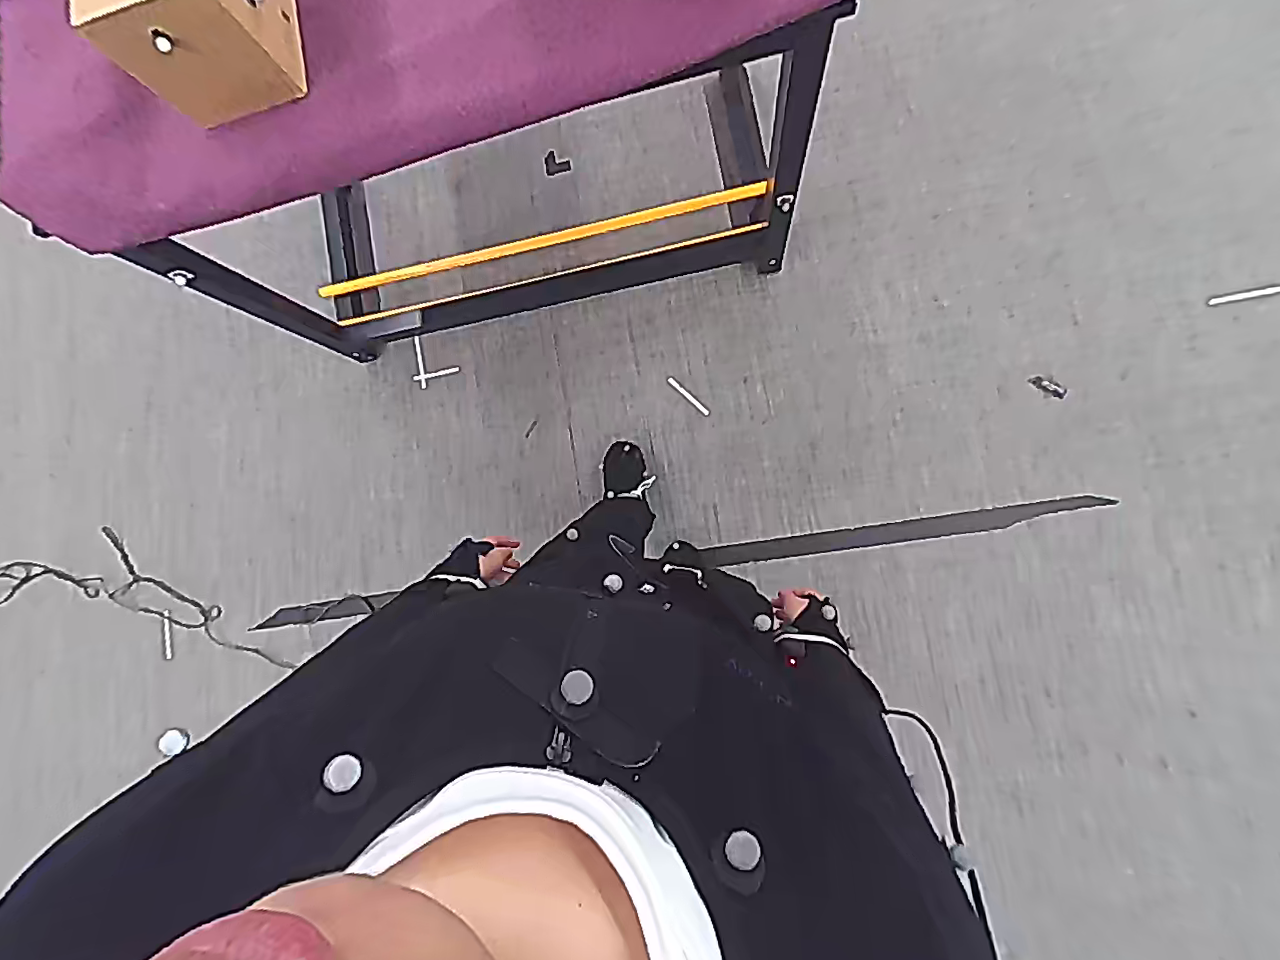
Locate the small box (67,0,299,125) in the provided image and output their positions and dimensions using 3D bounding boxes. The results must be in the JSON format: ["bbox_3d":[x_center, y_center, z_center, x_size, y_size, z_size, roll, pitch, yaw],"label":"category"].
[{"bbox_3d":[-0.573,-0.606,0.696,0.179,0.176,0.168,-12,84,7],"label":"small box"}]
